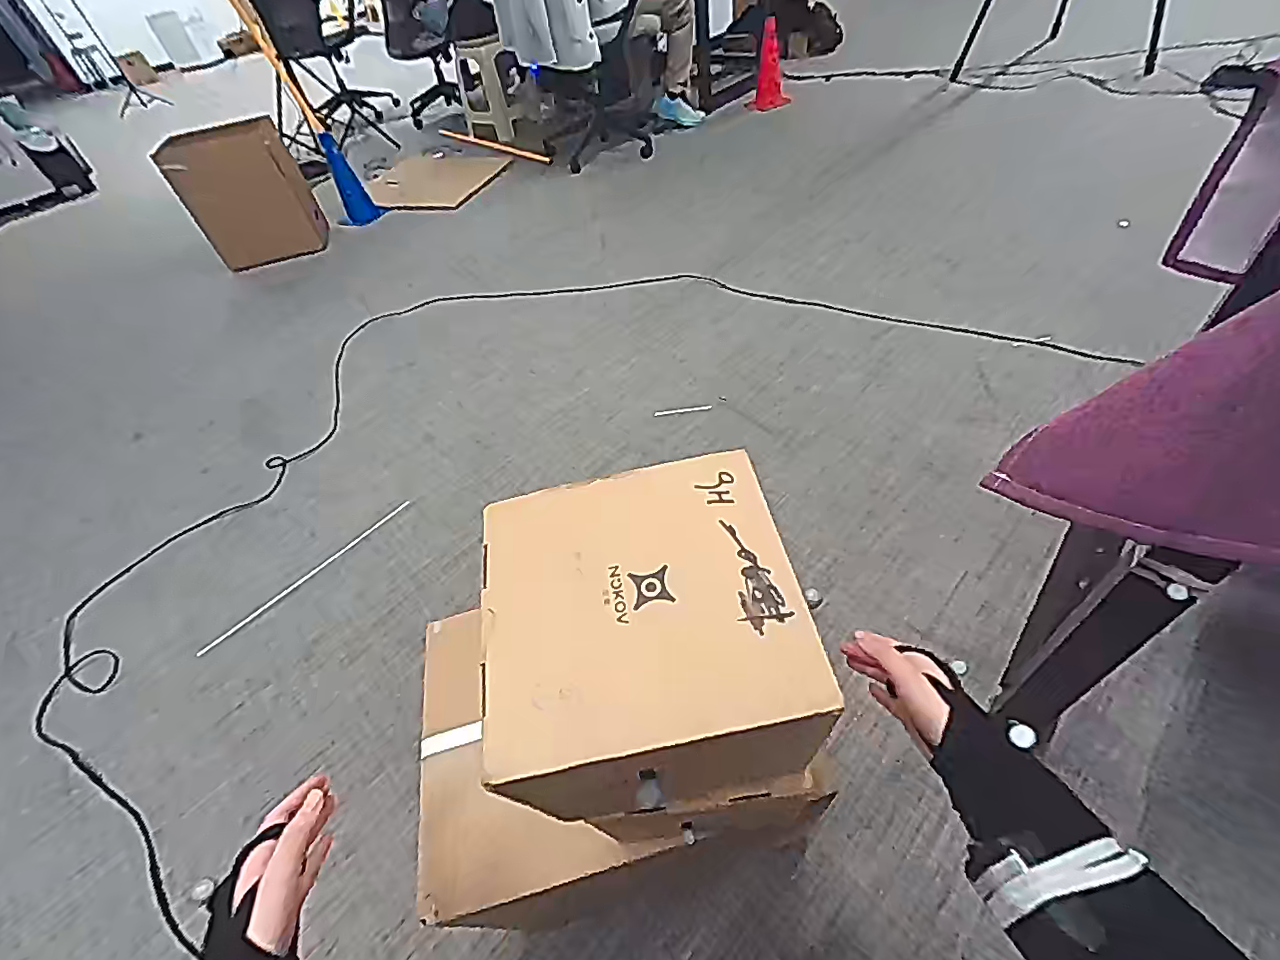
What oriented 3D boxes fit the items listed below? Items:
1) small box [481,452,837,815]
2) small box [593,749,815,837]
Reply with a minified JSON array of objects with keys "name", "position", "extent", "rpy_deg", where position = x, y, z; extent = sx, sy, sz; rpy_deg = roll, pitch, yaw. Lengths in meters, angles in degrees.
[{"name":"small box","position":[0.009,0.111,0.364],"extent":[0.179,0.176,0.168],"rpy_deg":[-13,53,1]},{"name":"small box","position":[0.044,0.208,0.493],"extent":[0.168,0.176,0.179],"rpy_deg":[-9,53,3]}]
